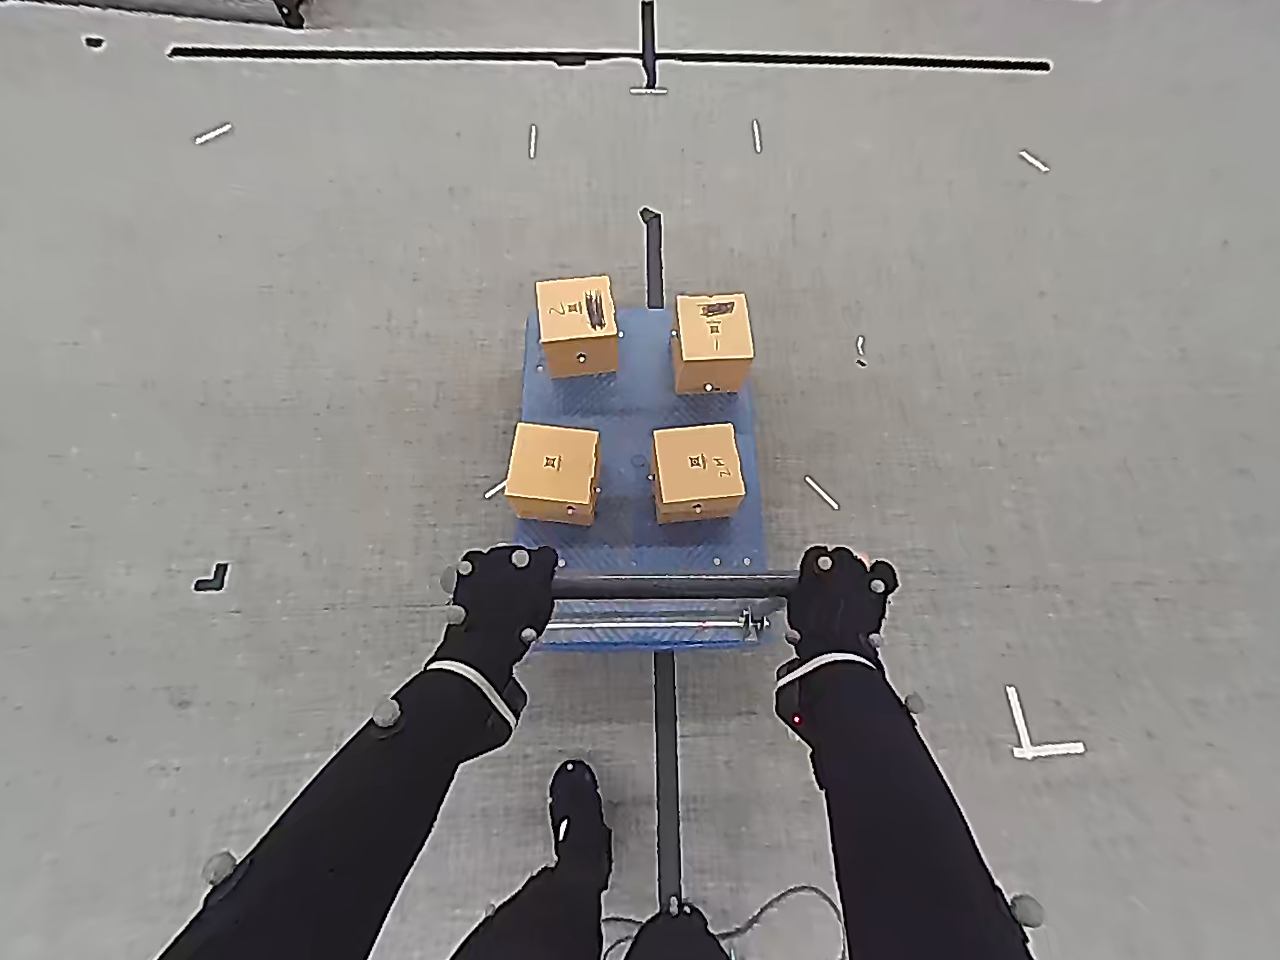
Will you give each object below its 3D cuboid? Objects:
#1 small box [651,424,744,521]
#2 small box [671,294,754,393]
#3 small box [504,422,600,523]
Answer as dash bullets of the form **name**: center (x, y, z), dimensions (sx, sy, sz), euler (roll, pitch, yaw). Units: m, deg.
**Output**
- **small box**: center (0.119, -0.011, 1.202), dimensions (0.179, 0.176, 0.168), euler (-5, 71, -4)
- **small box**: center (0.169, -0.327, 1.313), dimensions (0.168, 0.176, 0.179), euler (-3, 72, -3)
- **small box**: center (-0.186, -0.010, 1.190), dimensions (0.179, 0.176, 0.168), euler (7, 70, -2)
